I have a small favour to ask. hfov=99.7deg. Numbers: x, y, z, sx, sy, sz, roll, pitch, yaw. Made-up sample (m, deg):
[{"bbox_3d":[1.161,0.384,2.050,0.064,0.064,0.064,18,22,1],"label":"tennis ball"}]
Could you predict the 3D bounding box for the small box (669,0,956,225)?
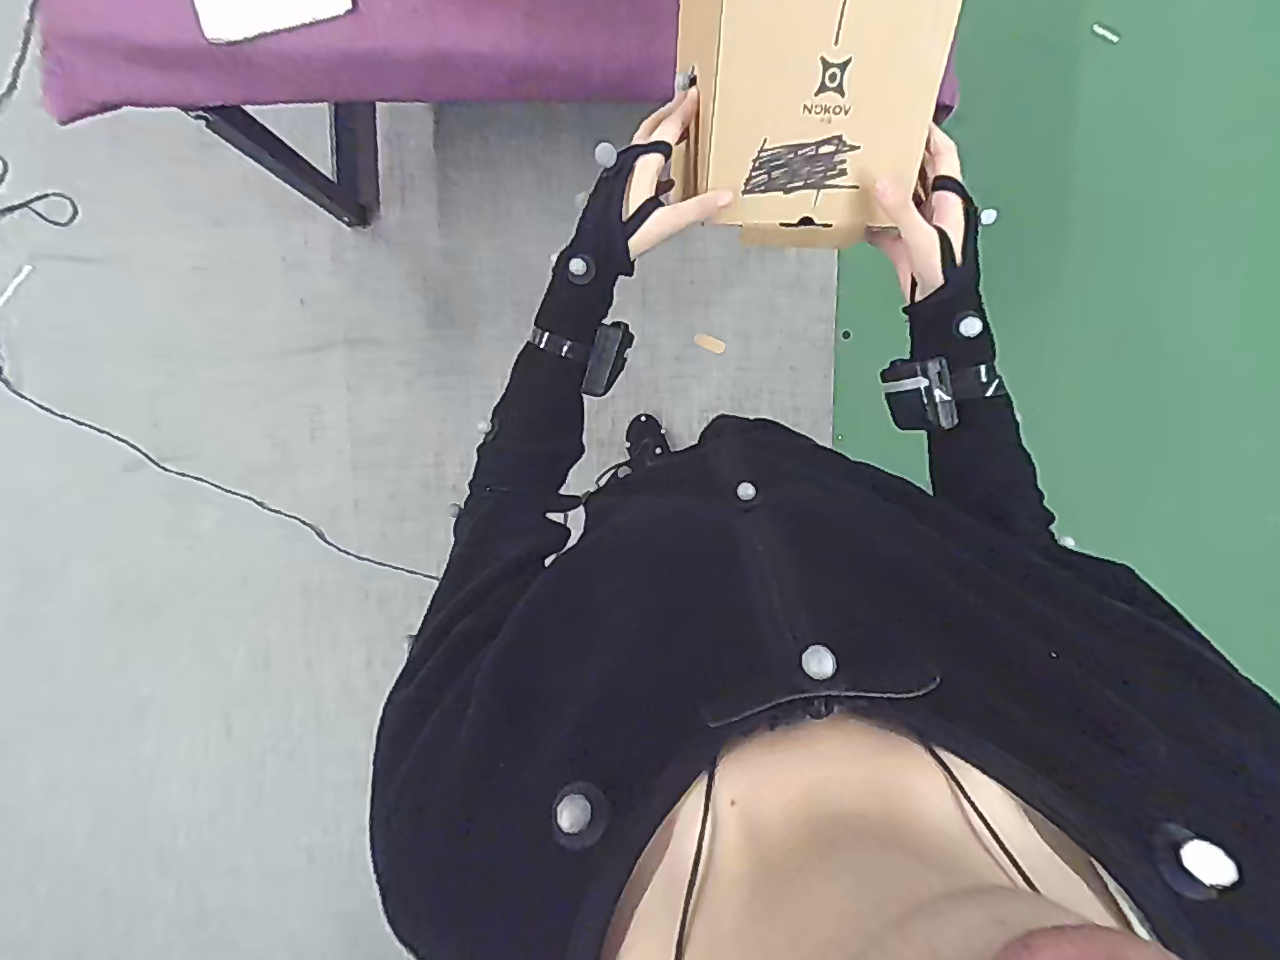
[{"bbox_3d":[0.120,-0.320,0.448,0.168,0.176,0.179,-2,122,-7],"label":"small box"}]
